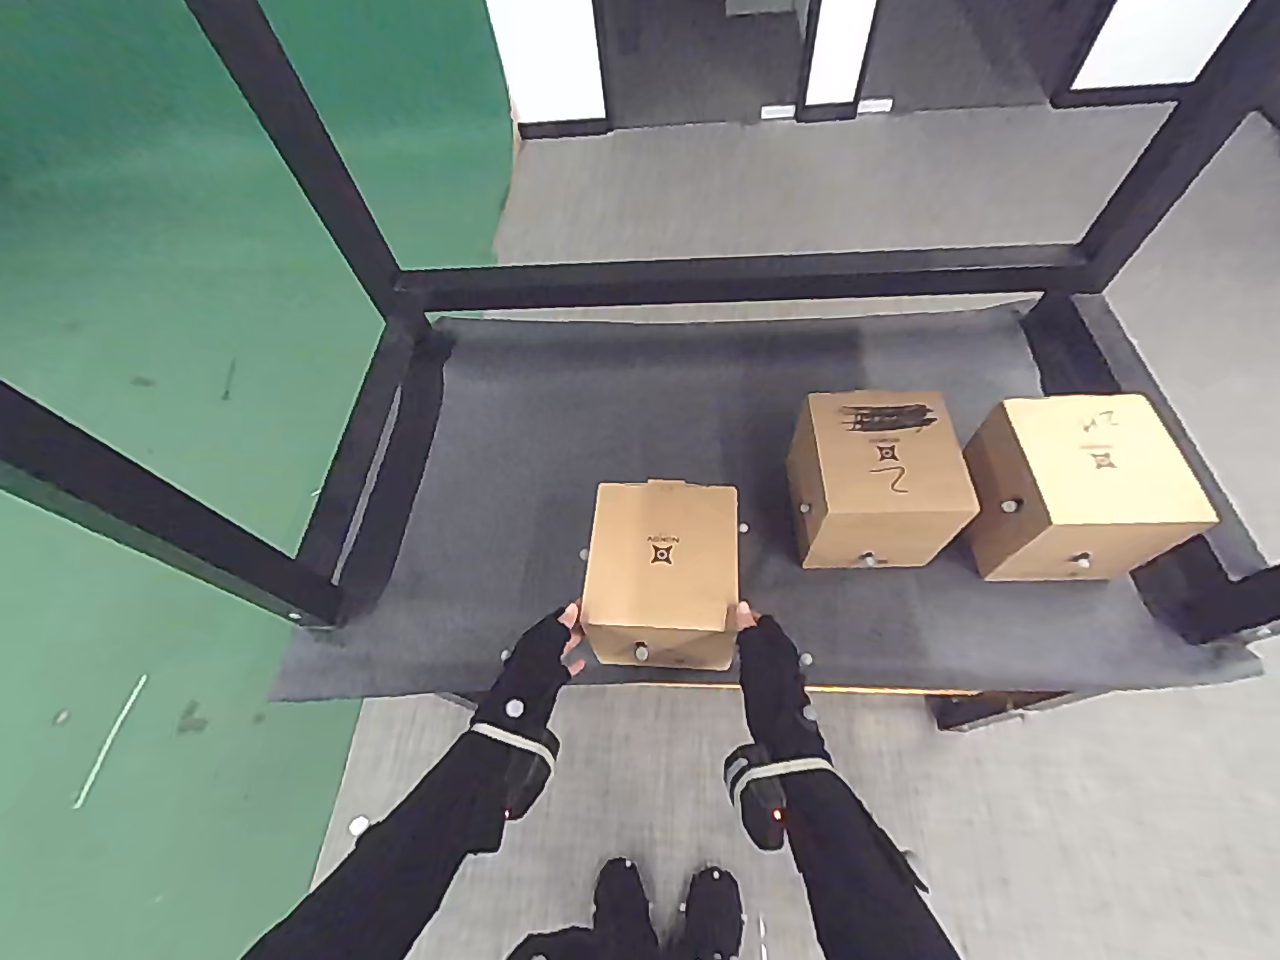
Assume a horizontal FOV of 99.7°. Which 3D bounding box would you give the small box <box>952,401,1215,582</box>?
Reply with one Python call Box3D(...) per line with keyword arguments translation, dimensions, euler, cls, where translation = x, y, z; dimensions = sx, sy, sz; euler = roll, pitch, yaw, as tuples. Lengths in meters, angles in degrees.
Box3D(translation=(0.530, 0.022, 0.682), dimensions=(0.168, 0.176, 0.179), euler=(-1, 58, 4), cls="small box")
